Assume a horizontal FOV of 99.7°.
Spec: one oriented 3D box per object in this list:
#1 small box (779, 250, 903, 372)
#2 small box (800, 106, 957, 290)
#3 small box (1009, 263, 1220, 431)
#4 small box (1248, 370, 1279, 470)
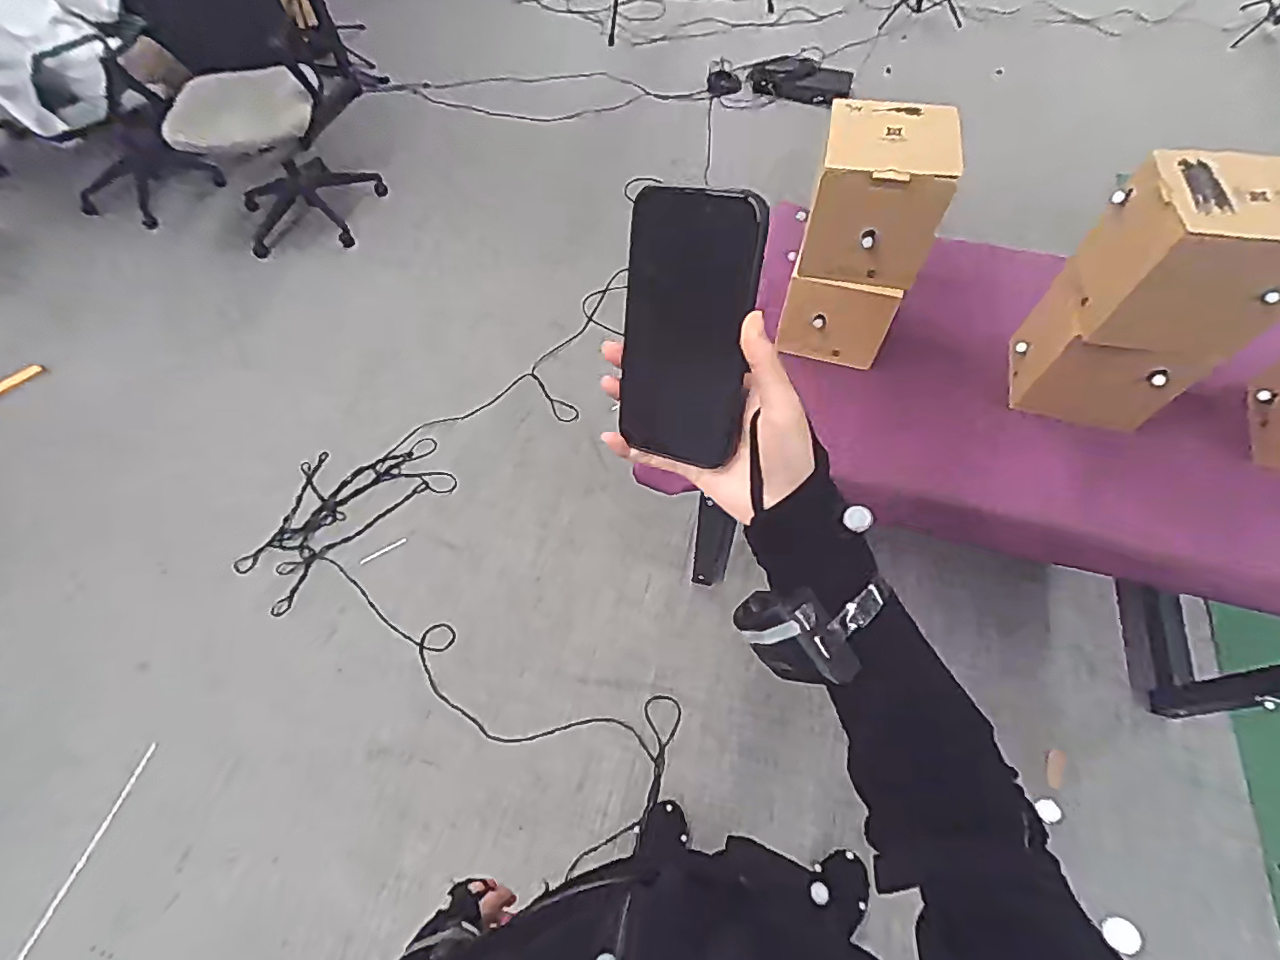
[{"bbox_3d":[0.341,-0.311,0.918,0.168,0.176,0.179,15,62,13],"label":"small box"},{"bbox_3d":[0.335,-0.401,0.781,0.168,0.176,0.179,11,61,10],"label":"small box"},{"bbox_3d":[0.703,-0.196,0.824,0.179,0.176,0.168,15,61,12],"label":"small box"},{"bbox_3d":[1.020,-0.098,0.746,0.179,0.176,0.168,21,62,15],"label":"small box"}]
